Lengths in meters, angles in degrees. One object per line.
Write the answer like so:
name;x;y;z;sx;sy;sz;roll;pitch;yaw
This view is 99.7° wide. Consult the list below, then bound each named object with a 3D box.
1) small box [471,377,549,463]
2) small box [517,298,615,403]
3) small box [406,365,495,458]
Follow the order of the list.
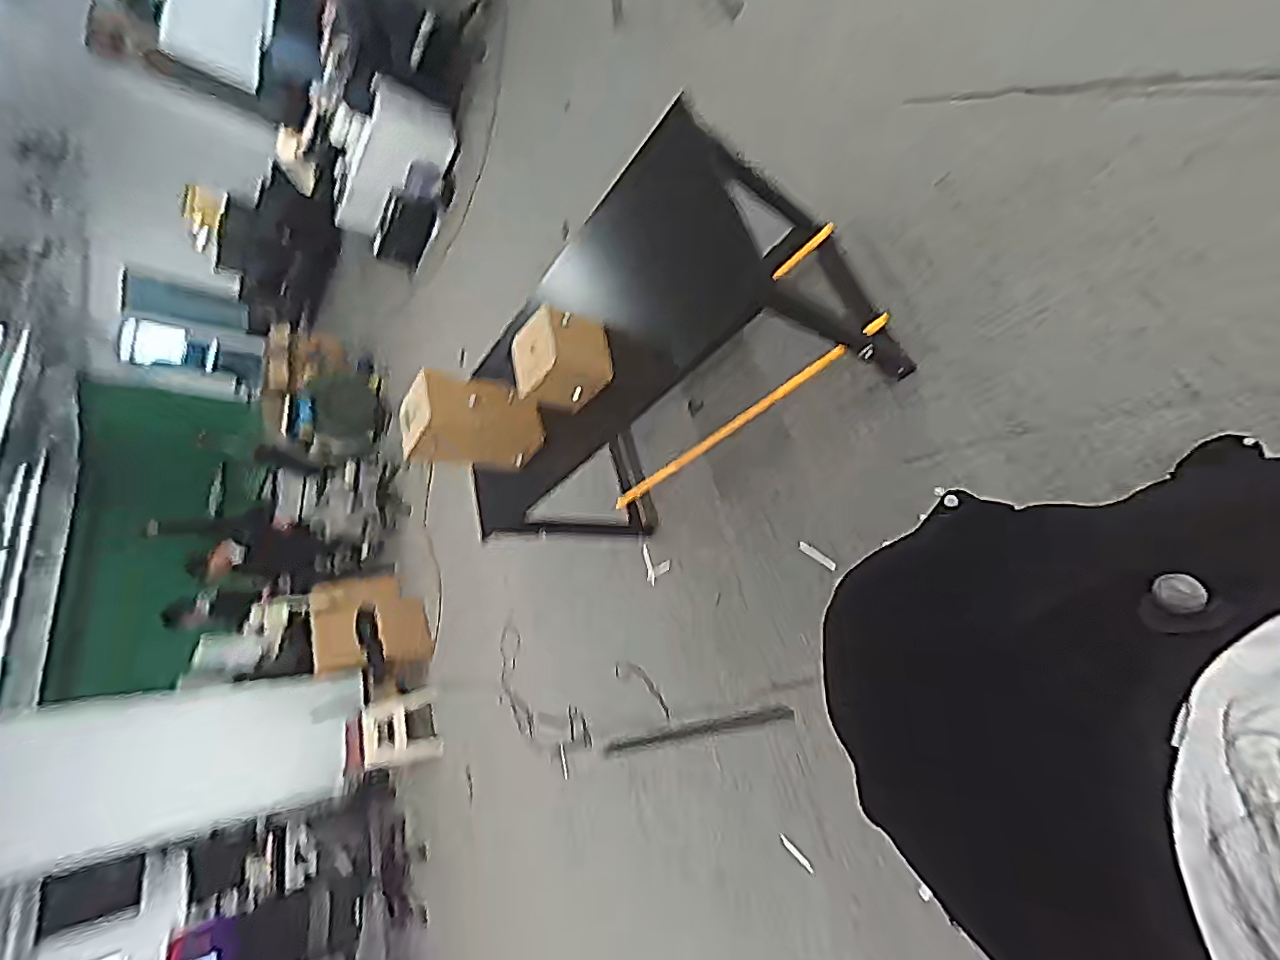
small box;-0.386;-0.164;1.556;0.168;0.176;0.179;-41;57;38
small box;-0.185;-0.315;1.351;0.168;0.176;0.179;-32;62;41
small box;-0.508;-0.175;1.446;0.179;0.176;0.168;-41;56;37
